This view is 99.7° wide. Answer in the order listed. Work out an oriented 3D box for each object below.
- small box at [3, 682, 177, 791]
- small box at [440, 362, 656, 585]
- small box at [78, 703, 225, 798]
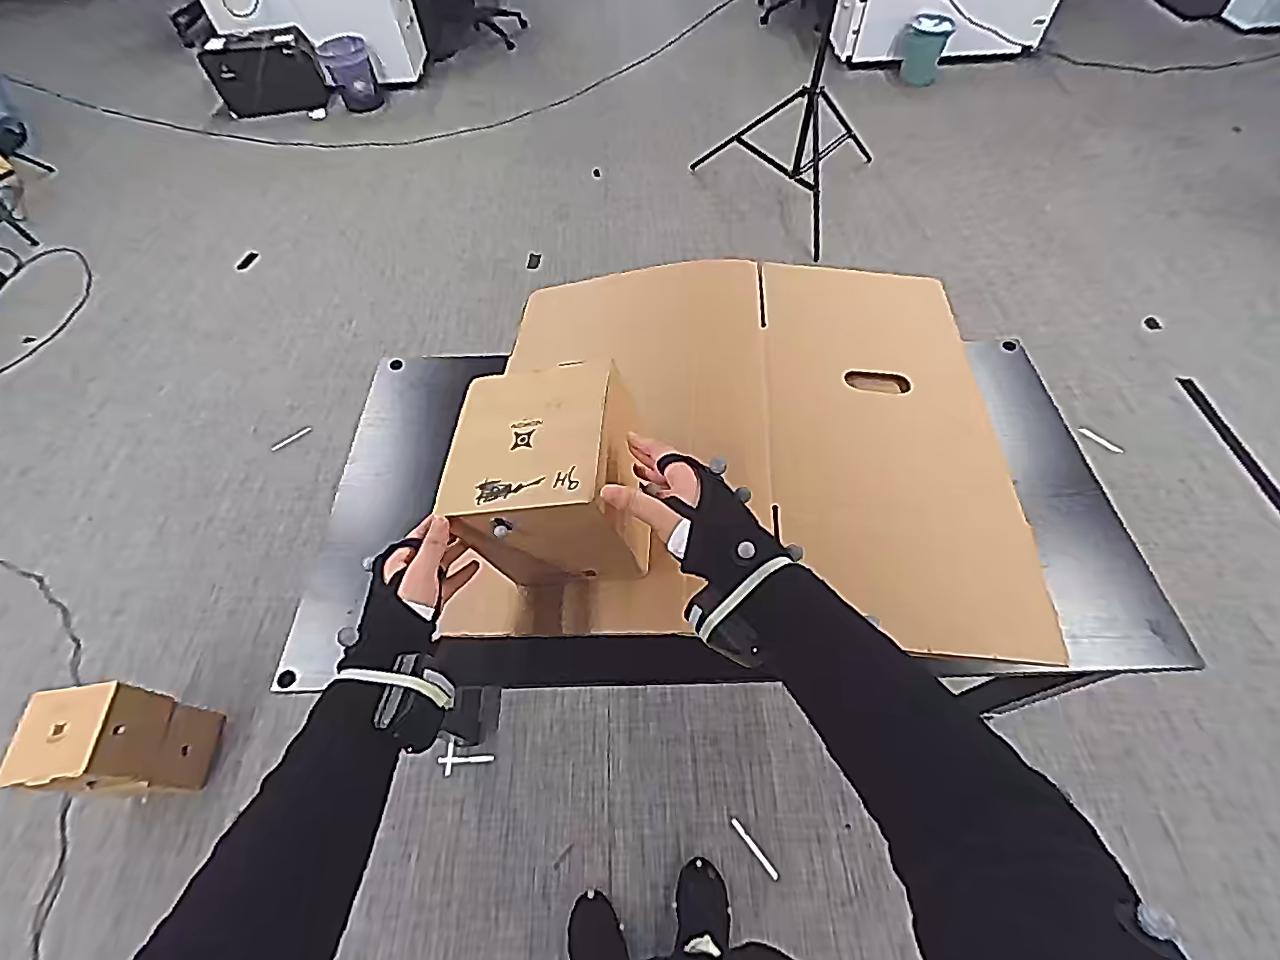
[{"bbox_3d":[-1.136,0.545,1.138,0.168,0.176,0.179,-7,56,-4],"label":"small box"},{"bbox_3d":[-0.083,0.000,0.597,0.168,0.176,0.179,-7,55,17],"label":"small box"},{"bbox_3d":[-1.130,0.639,1.271,0.168,0.176,0.179,-5,58,-1],"label":"small box"}]
